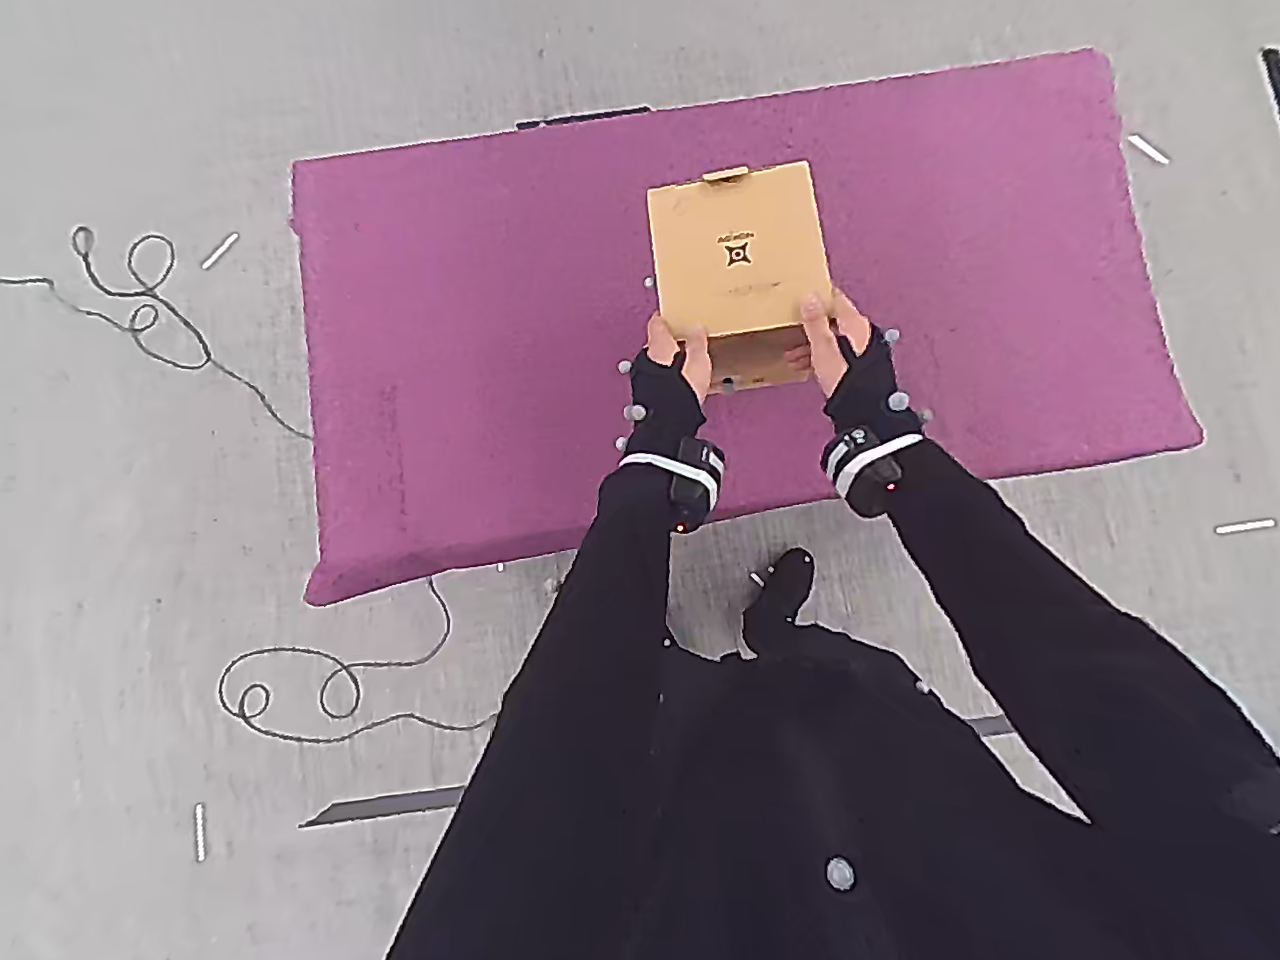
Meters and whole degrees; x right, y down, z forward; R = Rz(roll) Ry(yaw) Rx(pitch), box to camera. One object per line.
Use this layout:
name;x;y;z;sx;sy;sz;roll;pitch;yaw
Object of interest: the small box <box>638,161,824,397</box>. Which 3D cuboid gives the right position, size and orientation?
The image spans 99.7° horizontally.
small box;0.092;-0.208;0.602;0.168;0.176;0.179;-6;79;6
